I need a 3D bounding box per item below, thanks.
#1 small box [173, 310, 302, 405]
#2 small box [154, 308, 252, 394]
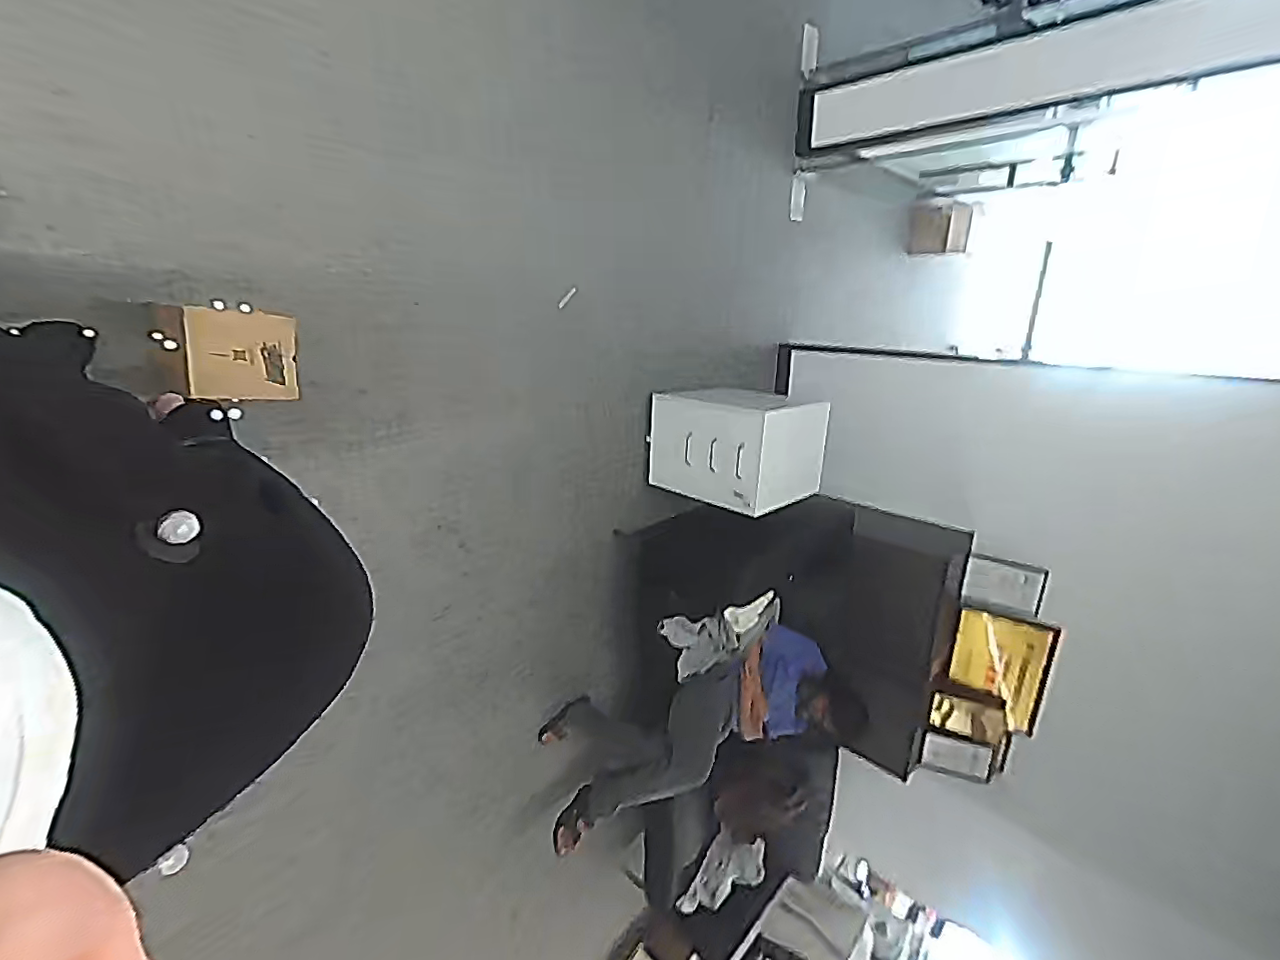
[{"bbox_3d":[-0.800,-0.243,1.078,0.179,0.176,0.168,-8,108,-46],"label":"small box"},{"bbox_3d":[-0.925,-0.281,1.179,0.179,0.176,0.168,-10,111,-46],"label":"small box"}]
